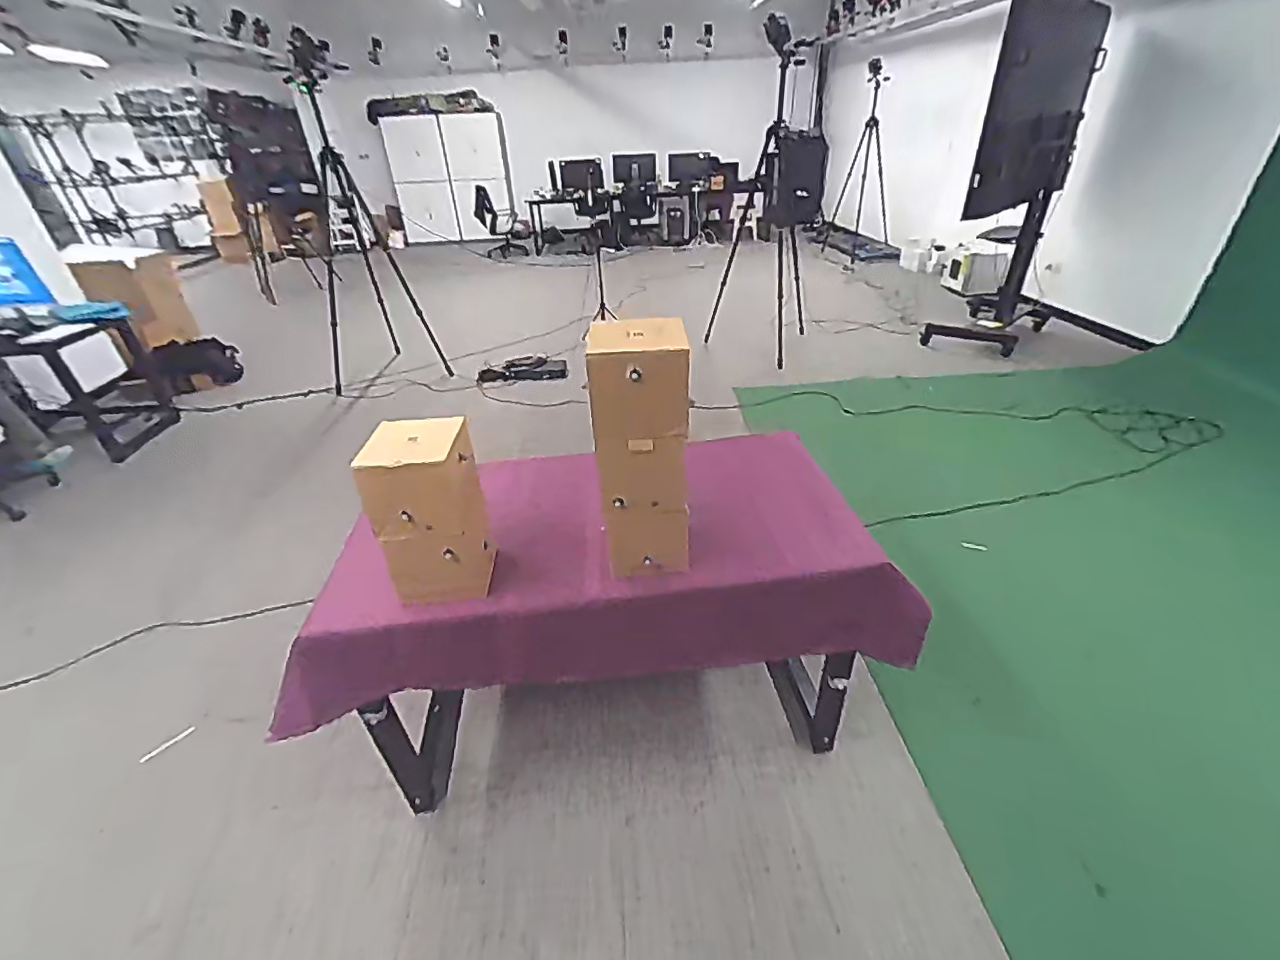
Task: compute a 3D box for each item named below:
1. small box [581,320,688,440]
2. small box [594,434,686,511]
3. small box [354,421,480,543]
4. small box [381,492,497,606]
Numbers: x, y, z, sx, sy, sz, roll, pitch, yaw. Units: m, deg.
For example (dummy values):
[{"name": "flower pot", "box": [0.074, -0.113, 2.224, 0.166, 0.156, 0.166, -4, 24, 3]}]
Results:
[{"name": "small box", "box": [-0.006, -0.182, 0.990, 0.179, 0.176, 0.168, -3, 34, 1]}, {"name": "small box", "box": [0.002, -0.048, 1.083, 0.168, 0.176, 0.179, -4, 32, 1]}, {"name": "small box", "box": [-0.420, 0.002, 1.054, 0.168, 0.176, 0.179, -5, 33, -2]}, {"name": "small box", "box": [-0.407, 0.144, 1.134, 0.179, 0.176, 0.168, -5, 32, -2]}]
